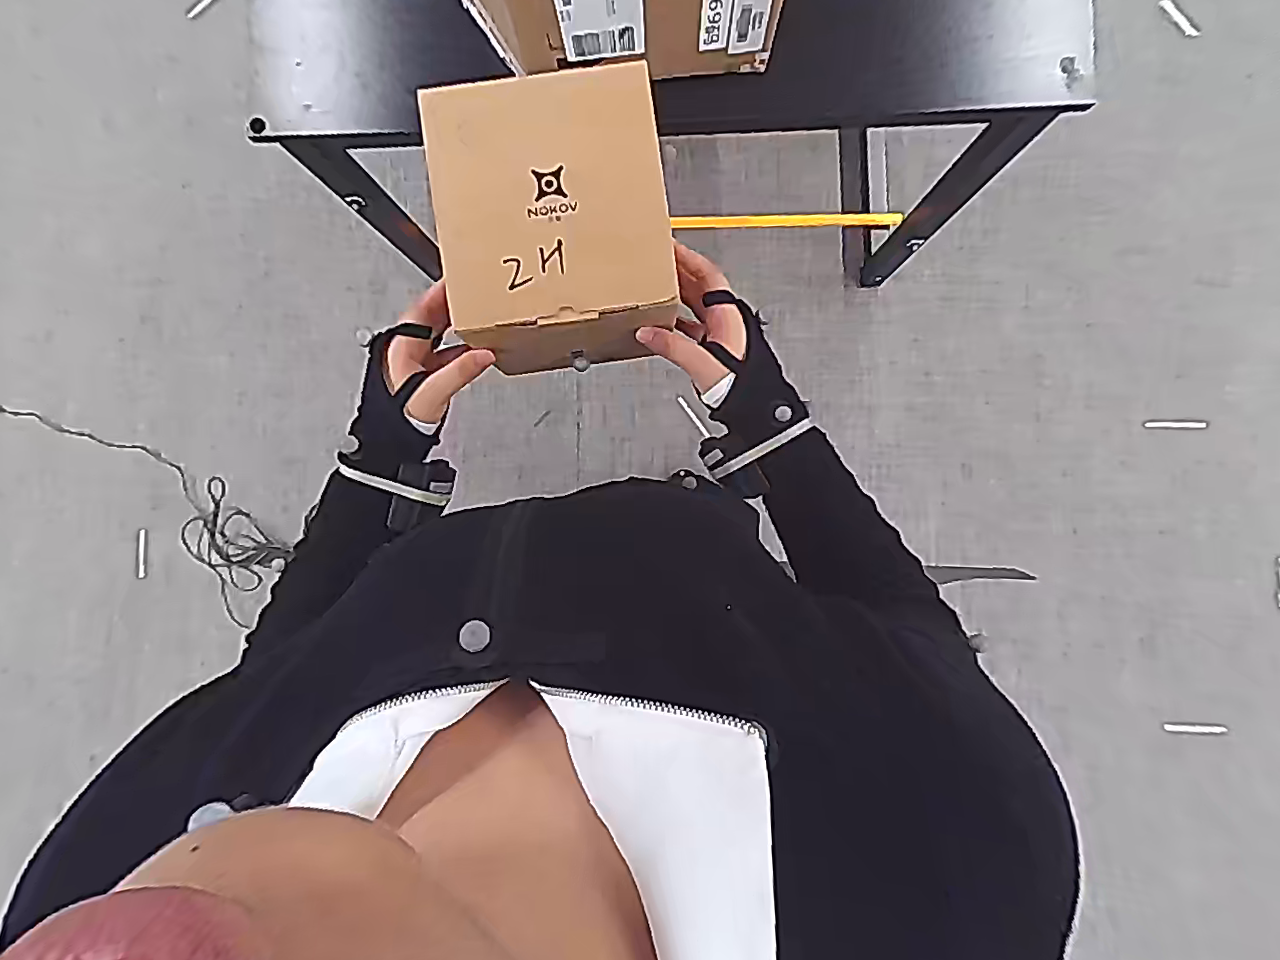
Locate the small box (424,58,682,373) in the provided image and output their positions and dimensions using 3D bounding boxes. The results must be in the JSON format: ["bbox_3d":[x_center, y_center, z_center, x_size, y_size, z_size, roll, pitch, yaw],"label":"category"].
[{"bbox_3d":[-0.063,-0.202,0.460,0.168,0.176,0.179,-8,90,-1],"label":"small box"}]
